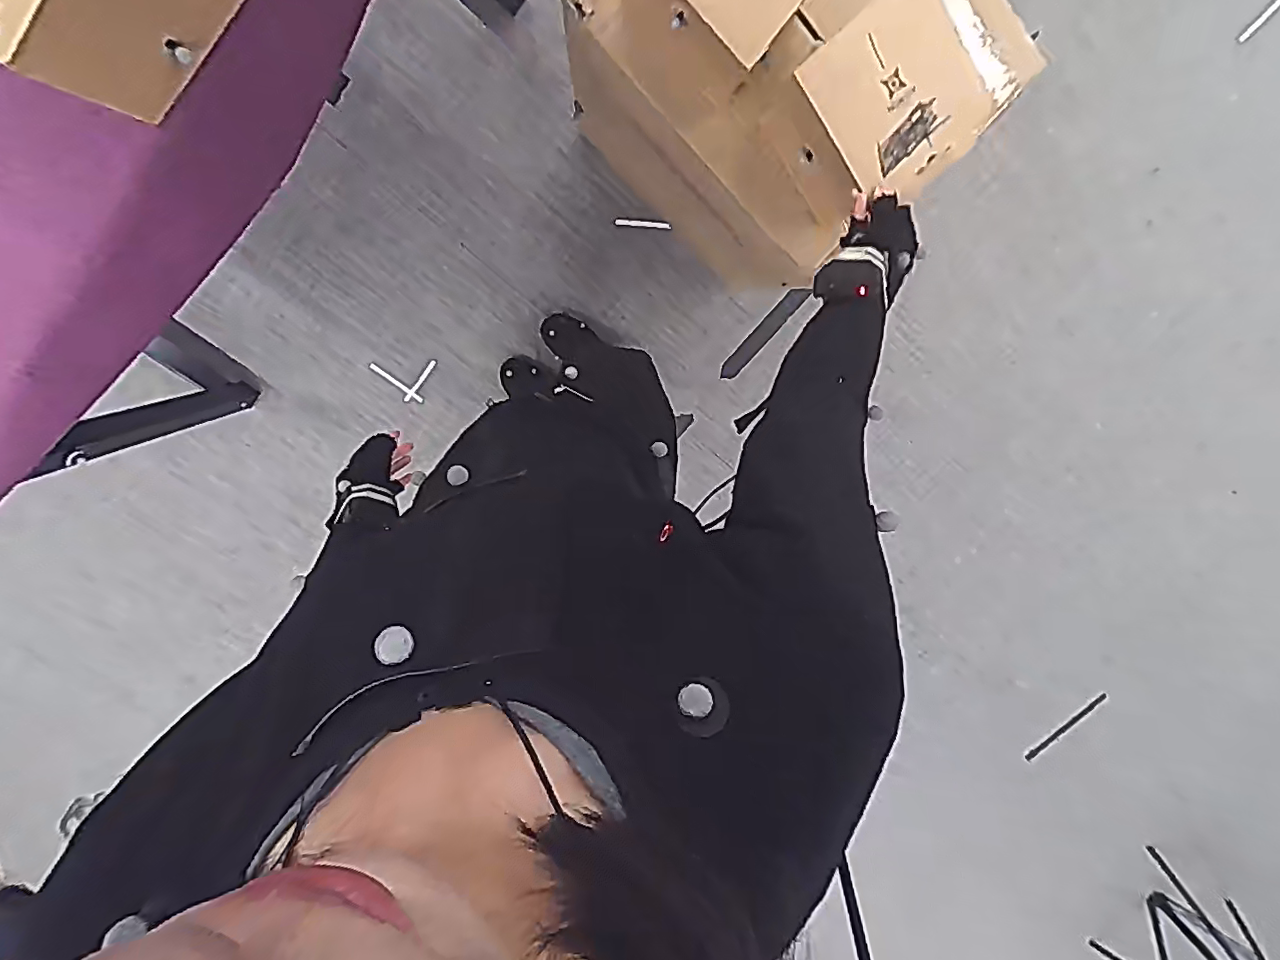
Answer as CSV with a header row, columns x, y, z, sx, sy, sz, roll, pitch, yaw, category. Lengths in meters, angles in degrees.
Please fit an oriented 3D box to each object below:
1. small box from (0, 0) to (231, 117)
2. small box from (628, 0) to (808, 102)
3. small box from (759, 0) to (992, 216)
x,y,z,sx,sy,sz,roll,pitch,yaw,category
-0.528,-0.485,0.491,0.179,0.176,0.168,-44,105,9,small box
0.100,-0.581,0.615,0.179,0.176,0.168,39,104,-17,small box
0.276,-0.455,0.670,0.168,0.176,0.179,-38,104,9,small box
